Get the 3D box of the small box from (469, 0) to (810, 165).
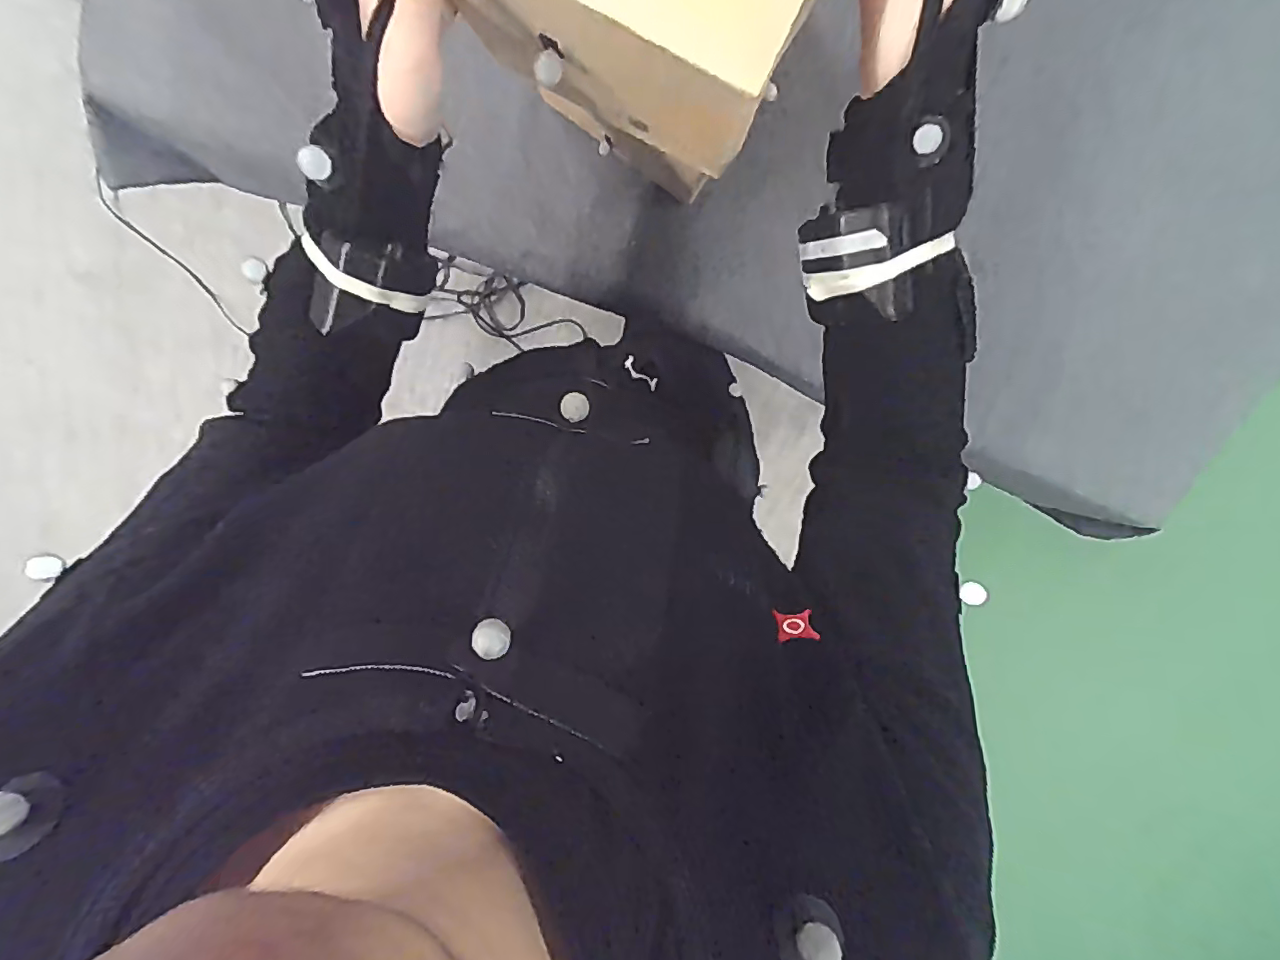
[{"bbox_3d":[0.015,-0.285,0.256,0.168,0.176,0.179,24,108,-6],"label":"small box"}]
